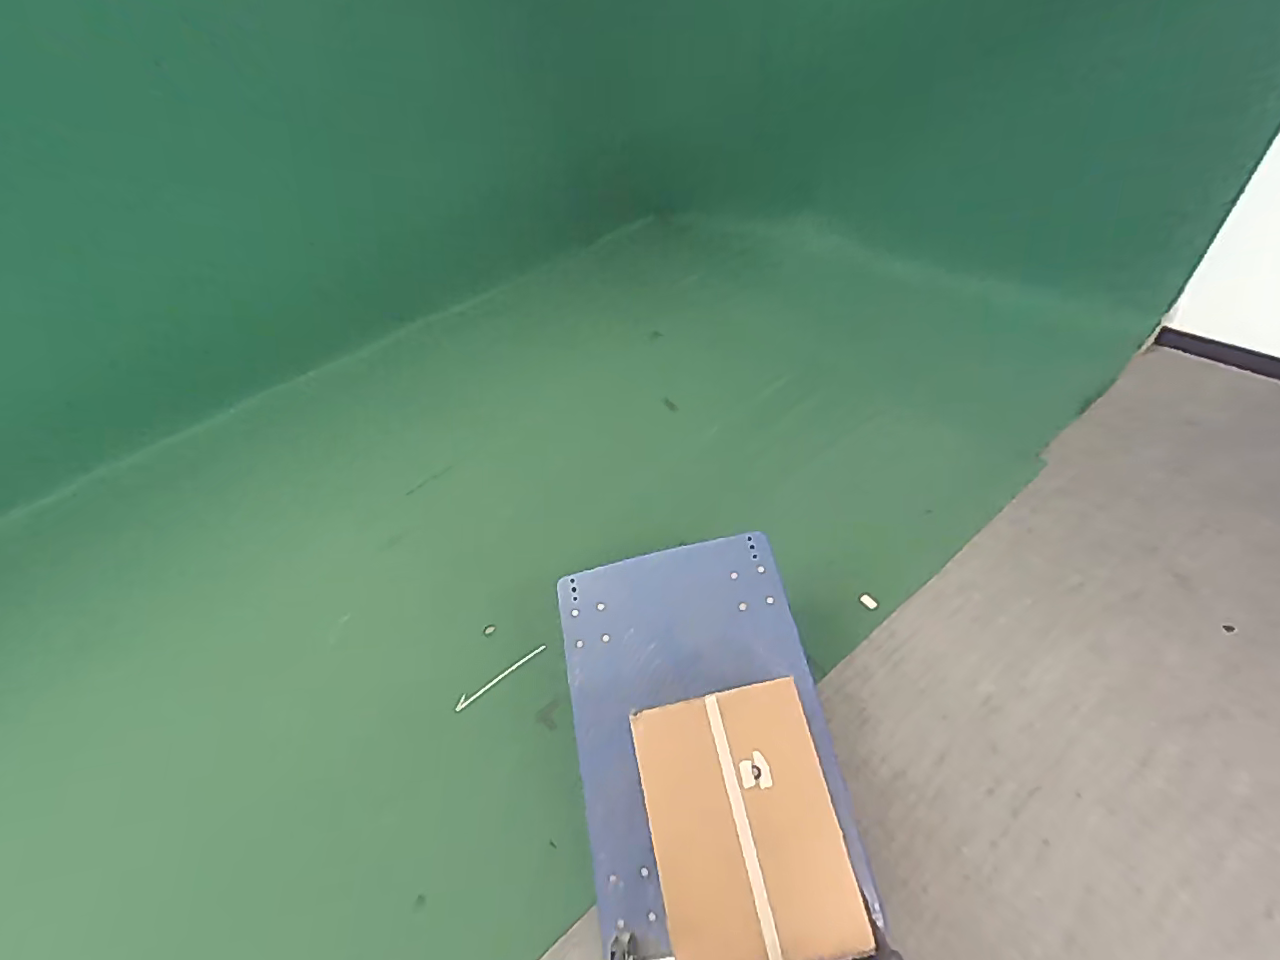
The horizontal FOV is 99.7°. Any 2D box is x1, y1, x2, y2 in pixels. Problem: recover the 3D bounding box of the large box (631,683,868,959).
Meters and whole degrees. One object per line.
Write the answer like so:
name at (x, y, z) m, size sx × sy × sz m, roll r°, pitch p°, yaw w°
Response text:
large box at (0.198, 0.651, 1.071) m, size 0.320 × 0.320 × 0.408 m, roll -15°, pitch 65°, yaw 4°
